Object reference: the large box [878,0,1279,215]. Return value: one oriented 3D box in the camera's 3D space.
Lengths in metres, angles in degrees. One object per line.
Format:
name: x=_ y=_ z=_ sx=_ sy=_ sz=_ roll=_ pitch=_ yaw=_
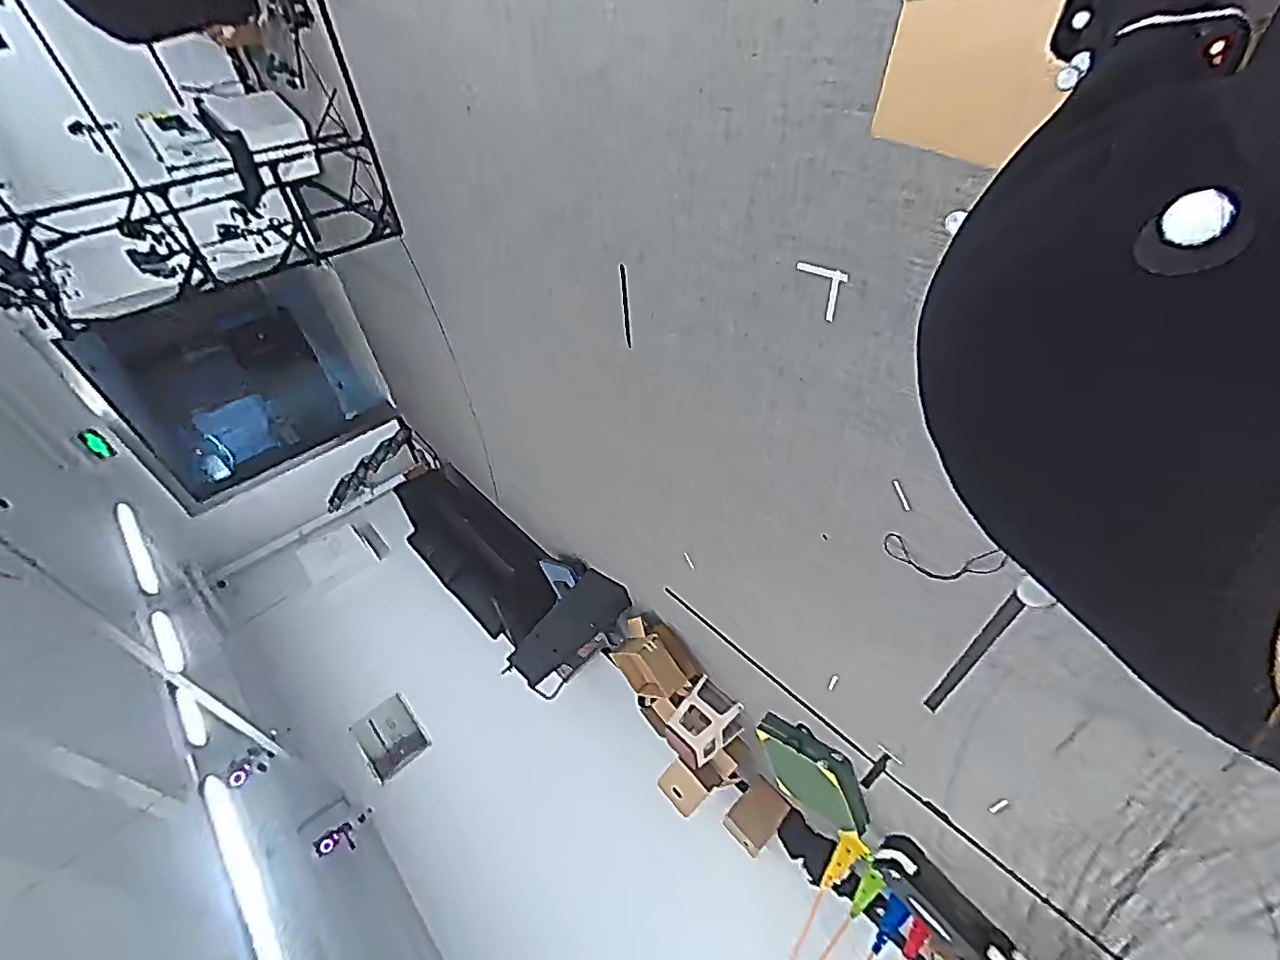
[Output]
large box: x=0.575 y=-0.560 z=0.651 sx=0.320 sy=0.408 sz=0.320 roll=49 pitch=152 yaw=37
